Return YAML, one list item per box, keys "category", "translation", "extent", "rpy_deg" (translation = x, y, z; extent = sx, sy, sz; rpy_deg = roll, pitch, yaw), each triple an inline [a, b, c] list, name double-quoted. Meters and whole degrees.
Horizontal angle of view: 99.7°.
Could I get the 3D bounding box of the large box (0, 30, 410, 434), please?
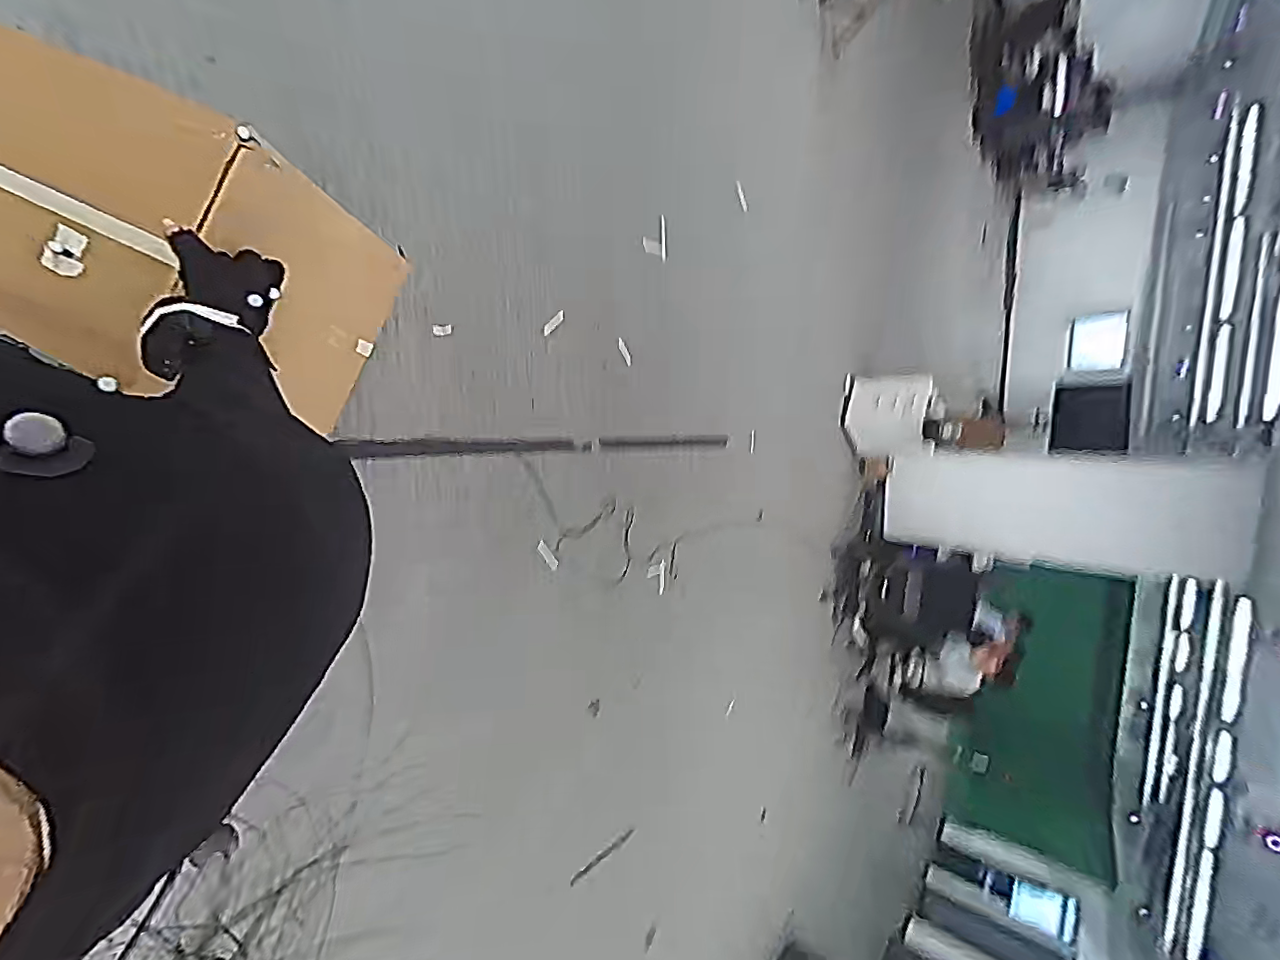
- category: "large box"
  translation: [-0.626, -0.299, 0.752]
  extent: [0.320, 0.408, 0.320]
  rpy_deg: [-64, 173, 1]
